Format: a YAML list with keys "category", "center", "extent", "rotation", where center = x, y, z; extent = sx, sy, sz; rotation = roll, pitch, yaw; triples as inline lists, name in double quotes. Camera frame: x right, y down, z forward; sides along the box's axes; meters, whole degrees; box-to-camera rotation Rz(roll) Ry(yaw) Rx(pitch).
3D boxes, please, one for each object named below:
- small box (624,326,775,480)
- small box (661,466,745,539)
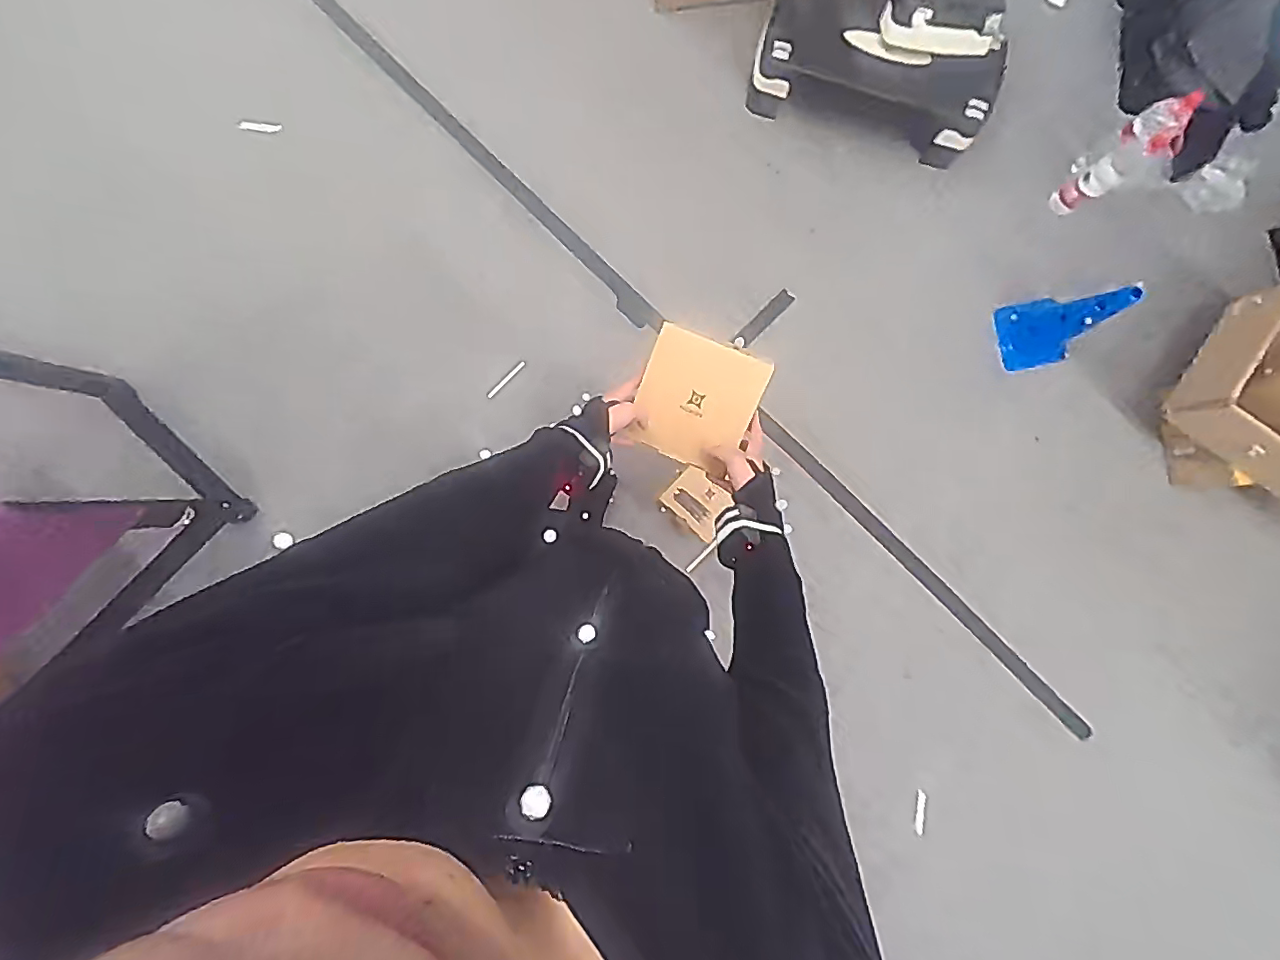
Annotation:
- category: "small box"
  center: [0.093, -0.129, 0.837]
  extent: [0.168, 0.176, 0.179]
  rotation: [23, 111, 4]
- category: "small box"
  center: [0.171, 0.047, 1.565]
  extent: [0.168, 0.176, 0.179]
  rotation: [41, 90, 0]
